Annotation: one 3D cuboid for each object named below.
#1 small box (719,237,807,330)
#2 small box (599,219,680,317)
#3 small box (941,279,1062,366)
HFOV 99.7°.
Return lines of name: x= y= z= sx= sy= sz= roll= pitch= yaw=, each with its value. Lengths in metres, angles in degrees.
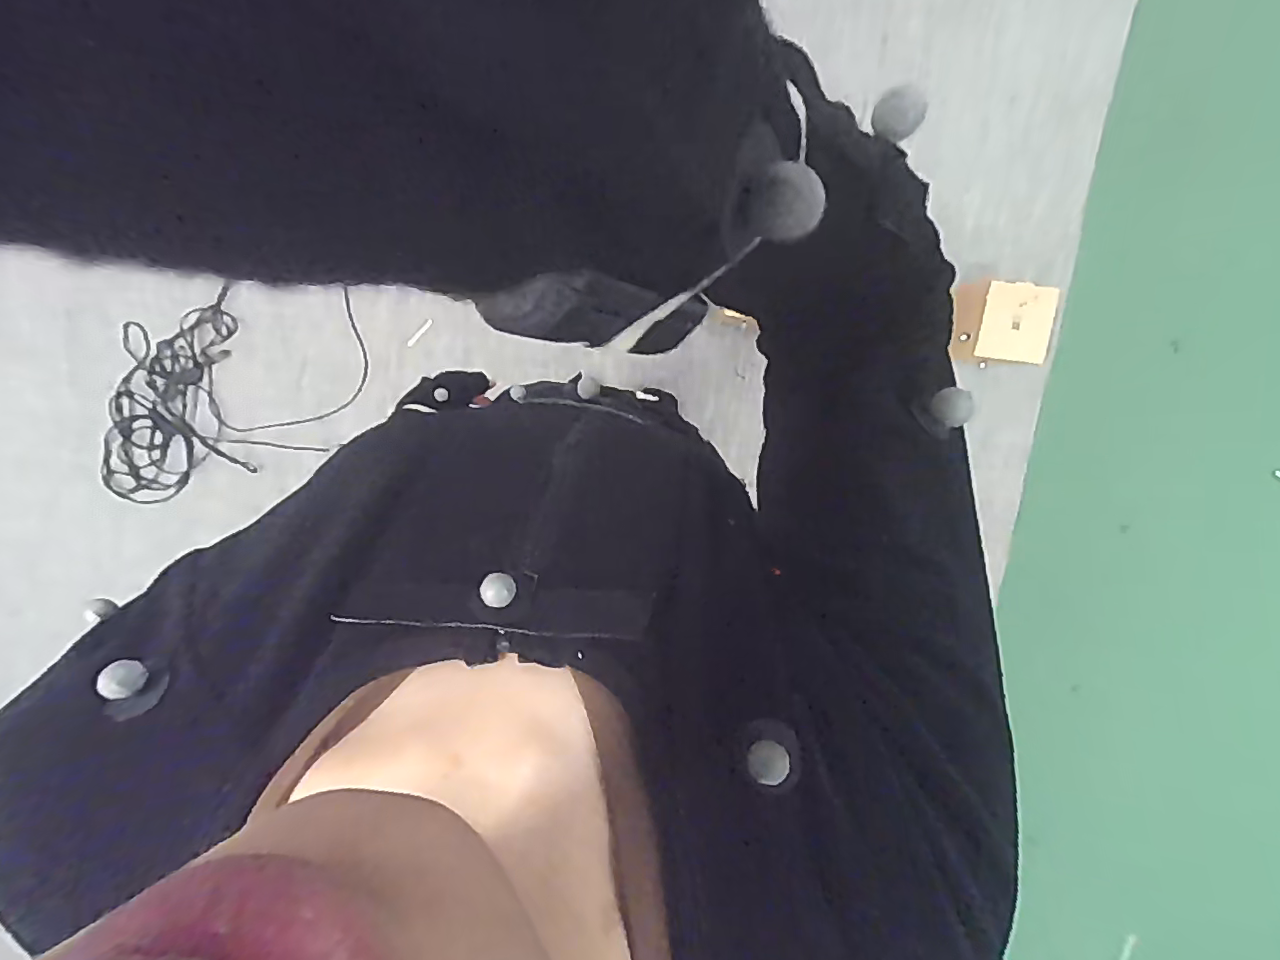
small box: x=0.289 y=-0.469 z=1.314 sx=0.168 sy=0.176 sz=0.179 roll=7 pitch=98 yaw=0
small box: x=-0.002 y=-0.505 z=1.310 sx=0.168 sy=0.176 sz=0.179 roll=9 pitch=100 yaw=0
small box: x=0.872 y=-0.376 z=1.324 sx=0.168 sy=0.176 sz=0.179 roll=7 pitch=100 yaw=-1
